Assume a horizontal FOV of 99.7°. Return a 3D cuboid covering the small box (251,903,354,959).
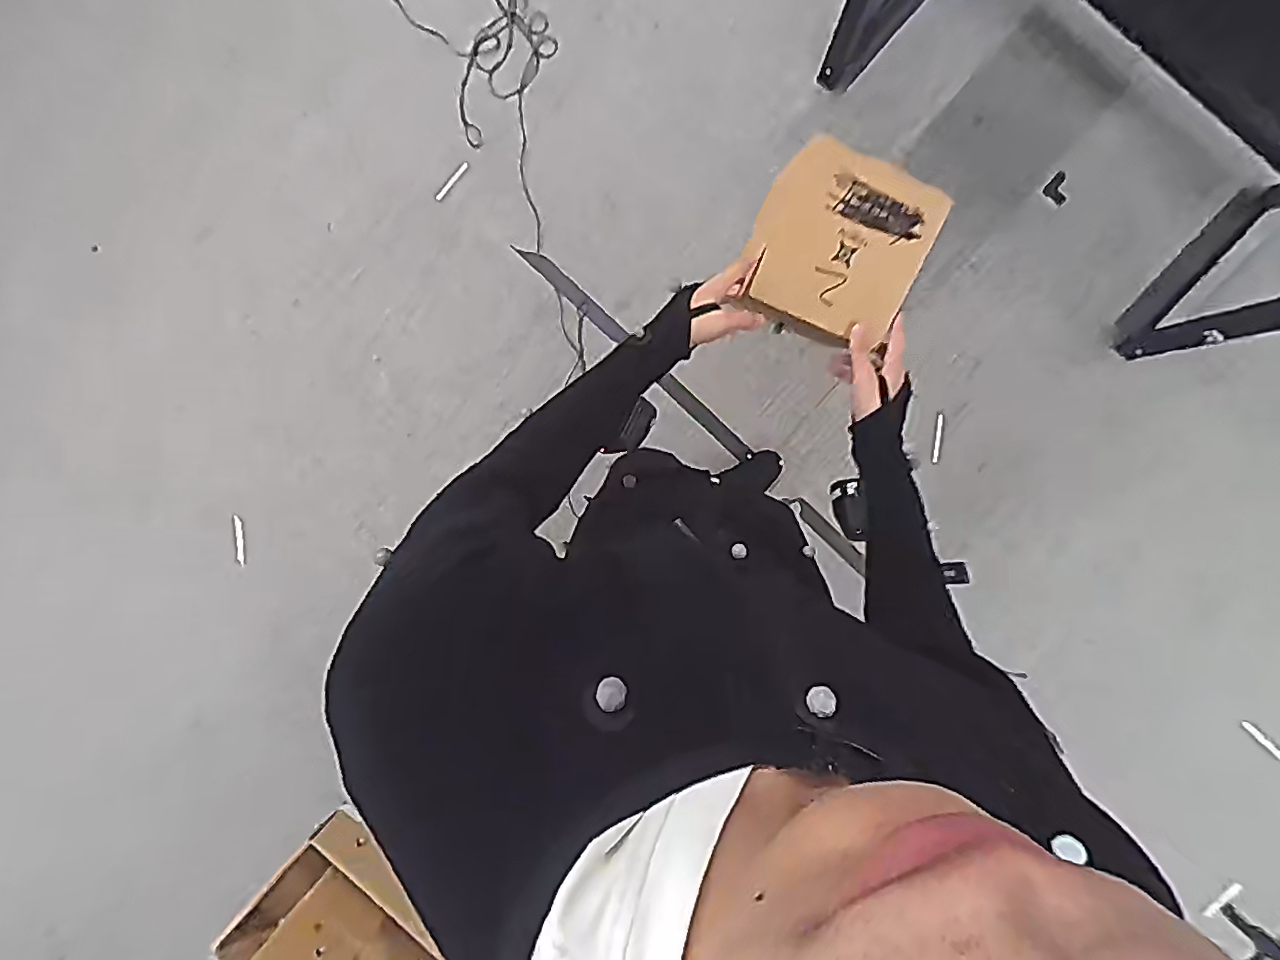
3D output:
[{"bbox_3d":[-0.727,1.027,1.093,0.168,0.176,0.179,39,95,0],"label":"small box"}]
